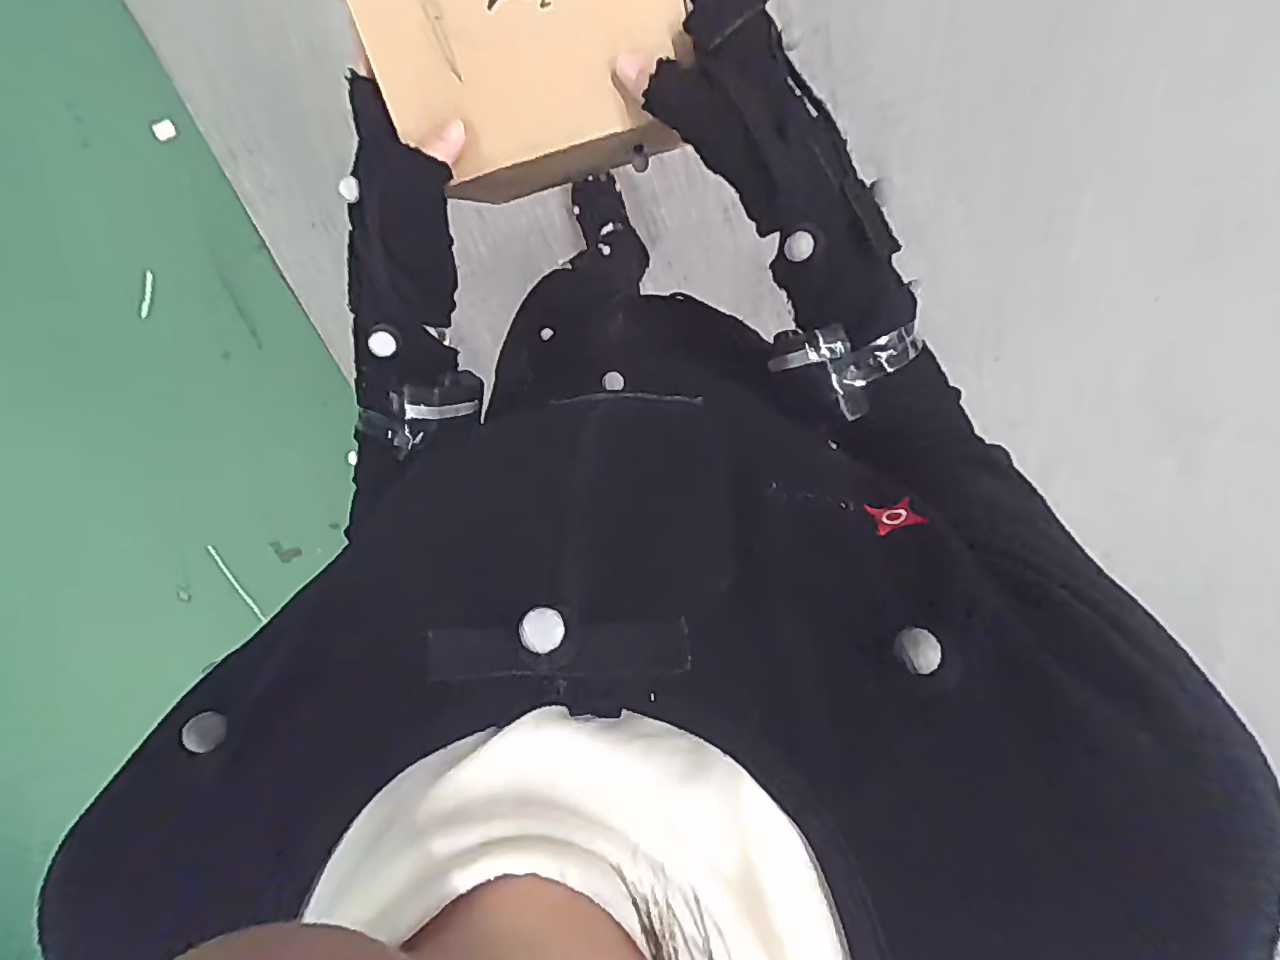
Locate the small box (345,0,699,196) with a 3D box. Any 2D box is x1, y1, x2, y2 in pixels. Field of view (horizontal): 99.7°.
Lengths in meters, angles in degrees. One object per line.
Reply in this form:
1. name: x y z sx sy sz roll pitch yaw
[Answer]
1. small box: -0.068 -0.301 0.352 0.179 0.176 0.168 -14 112 10
